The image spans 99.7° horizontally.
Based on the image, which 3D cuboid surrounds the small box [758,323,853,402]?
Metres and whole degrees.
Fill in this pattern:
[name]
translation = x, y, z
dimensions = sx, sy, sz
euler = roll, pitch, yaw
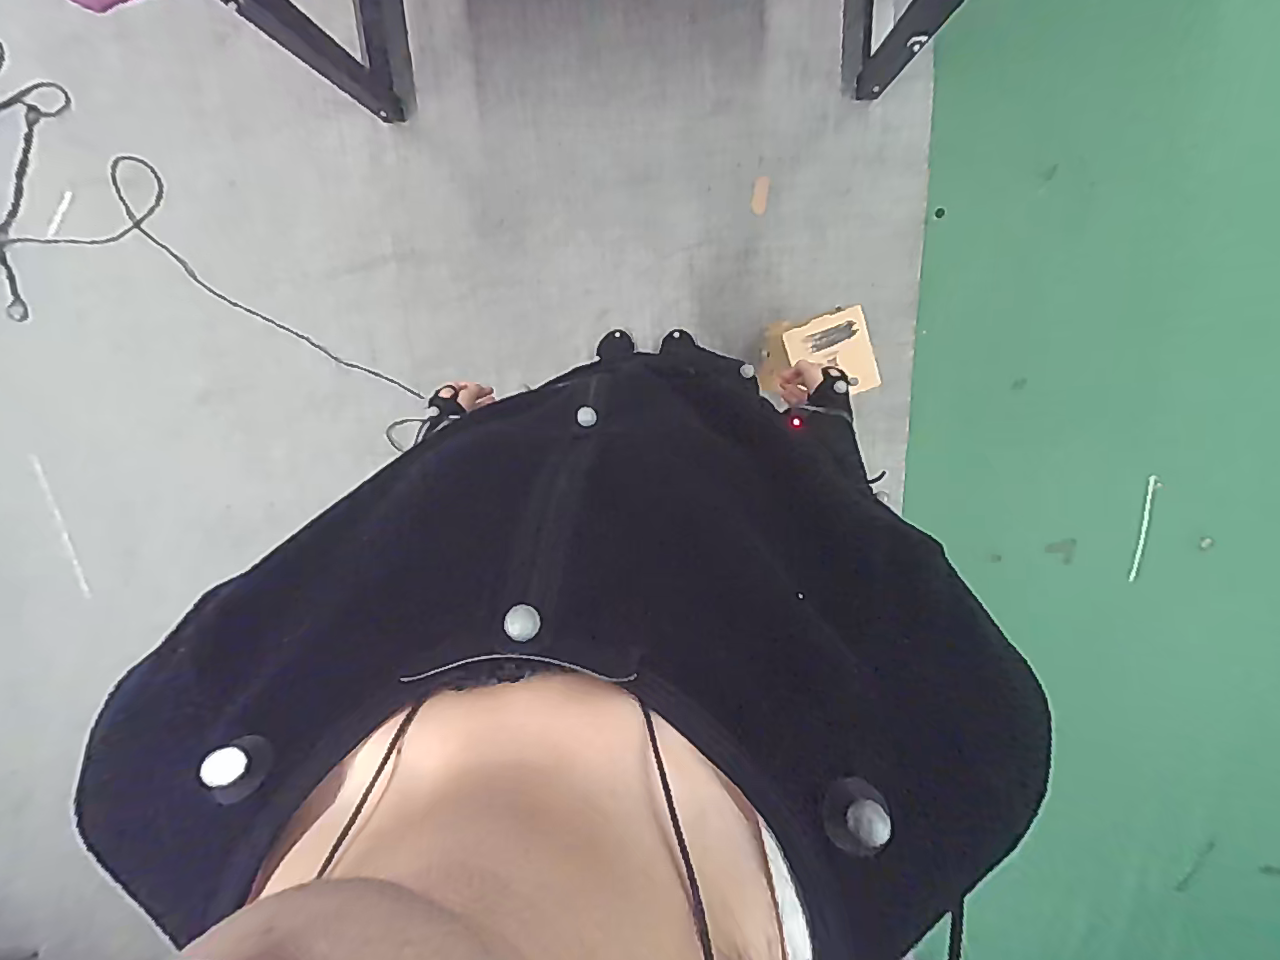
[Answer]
[small box]
translation = 0.401, -0.295, 1.349
dimensions = 0.179, 0.176, 0.168
euler = 8, 105, 1
